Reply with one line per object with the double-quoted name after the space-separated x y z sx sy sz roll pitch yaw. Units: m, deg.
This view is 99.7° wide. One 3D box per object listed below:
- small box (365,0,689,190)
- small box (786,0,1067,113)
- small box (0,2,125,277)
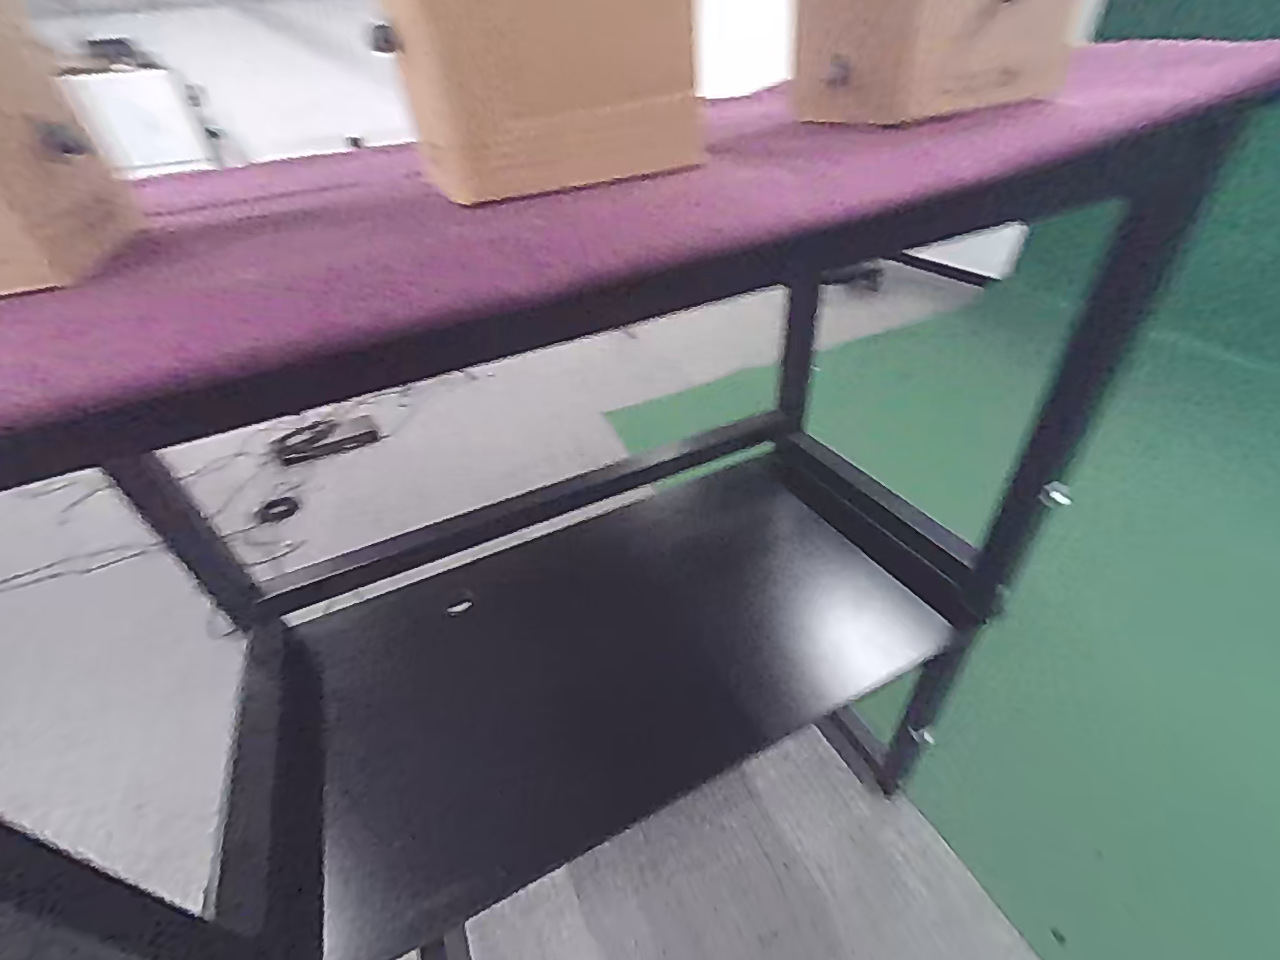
-0.080 -0.303 0.359 0.179 0.176 0.168 -20 39 -17 "small box"
0.242 -0.429 0.465 0.168 0.176 0.179 -17 38 -11 "small box"
-0.396 -0.174 0.235 0.179 0.176 0.168 -20 42 -18 "small box"
